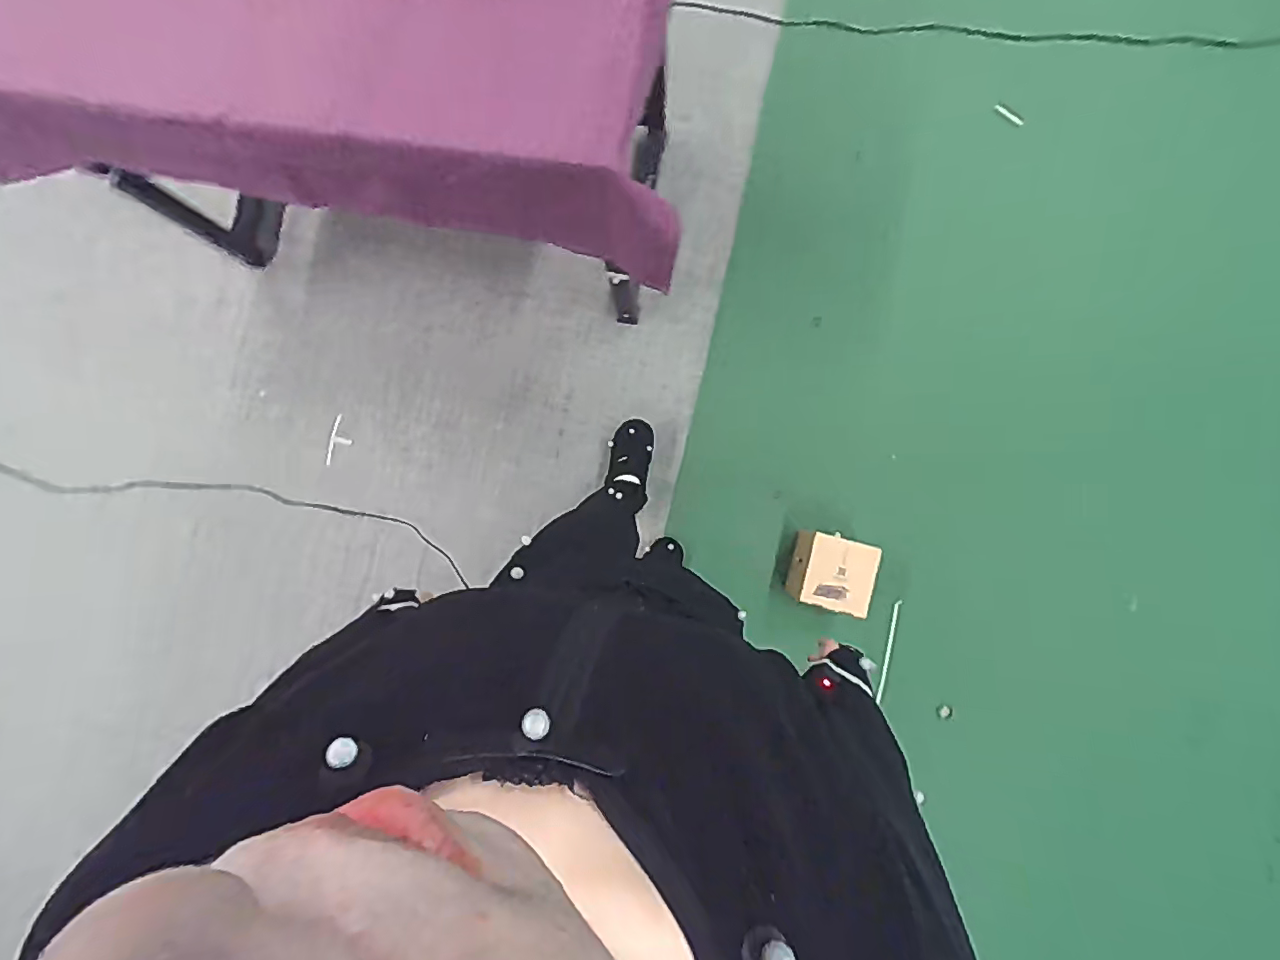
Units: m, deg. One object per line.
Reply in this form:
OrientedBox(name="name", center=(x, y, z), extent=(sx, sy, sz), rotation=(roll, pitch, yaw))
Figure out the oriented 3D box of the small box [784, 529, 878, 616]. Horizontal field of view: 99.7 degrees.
OrientedBox(name="small box", center=(0.482, 0.232, 1.394), extent=(0.168, 0.176, 0.179), rotation=(16, 87, 3))
